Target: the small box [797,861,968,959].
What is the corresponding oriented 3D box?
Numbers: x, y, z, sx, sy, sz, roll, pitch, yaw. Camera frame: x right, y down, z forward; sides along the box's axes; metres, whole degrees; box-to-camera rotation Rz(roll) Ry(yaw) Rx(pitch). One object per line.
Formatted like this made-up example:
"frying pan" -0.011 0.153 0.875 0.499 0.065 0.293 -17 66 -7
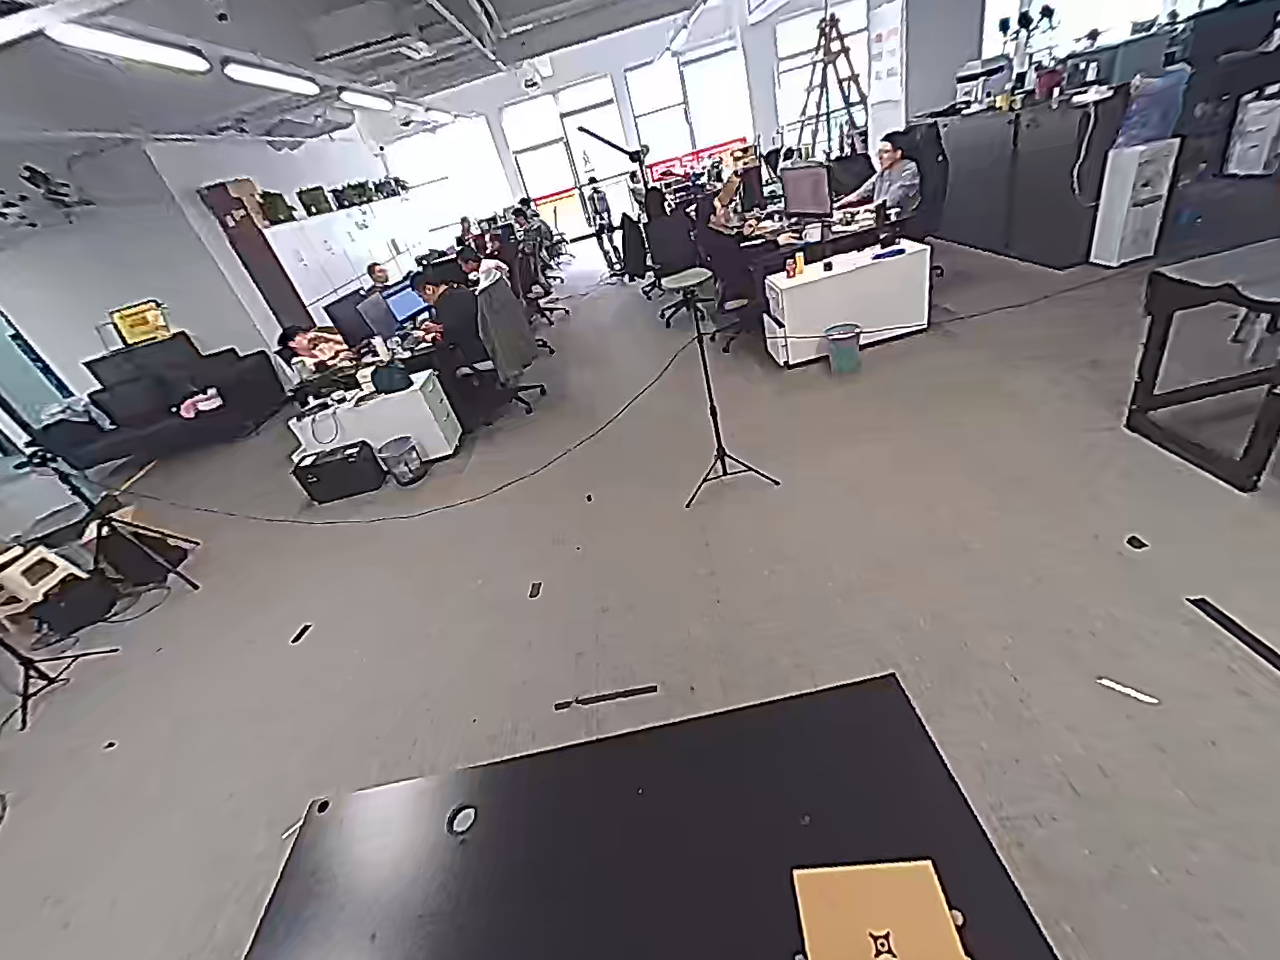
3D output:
"small box" 0.285 0.579 0.624 0.168 0.176 0.179 -12 32 11
